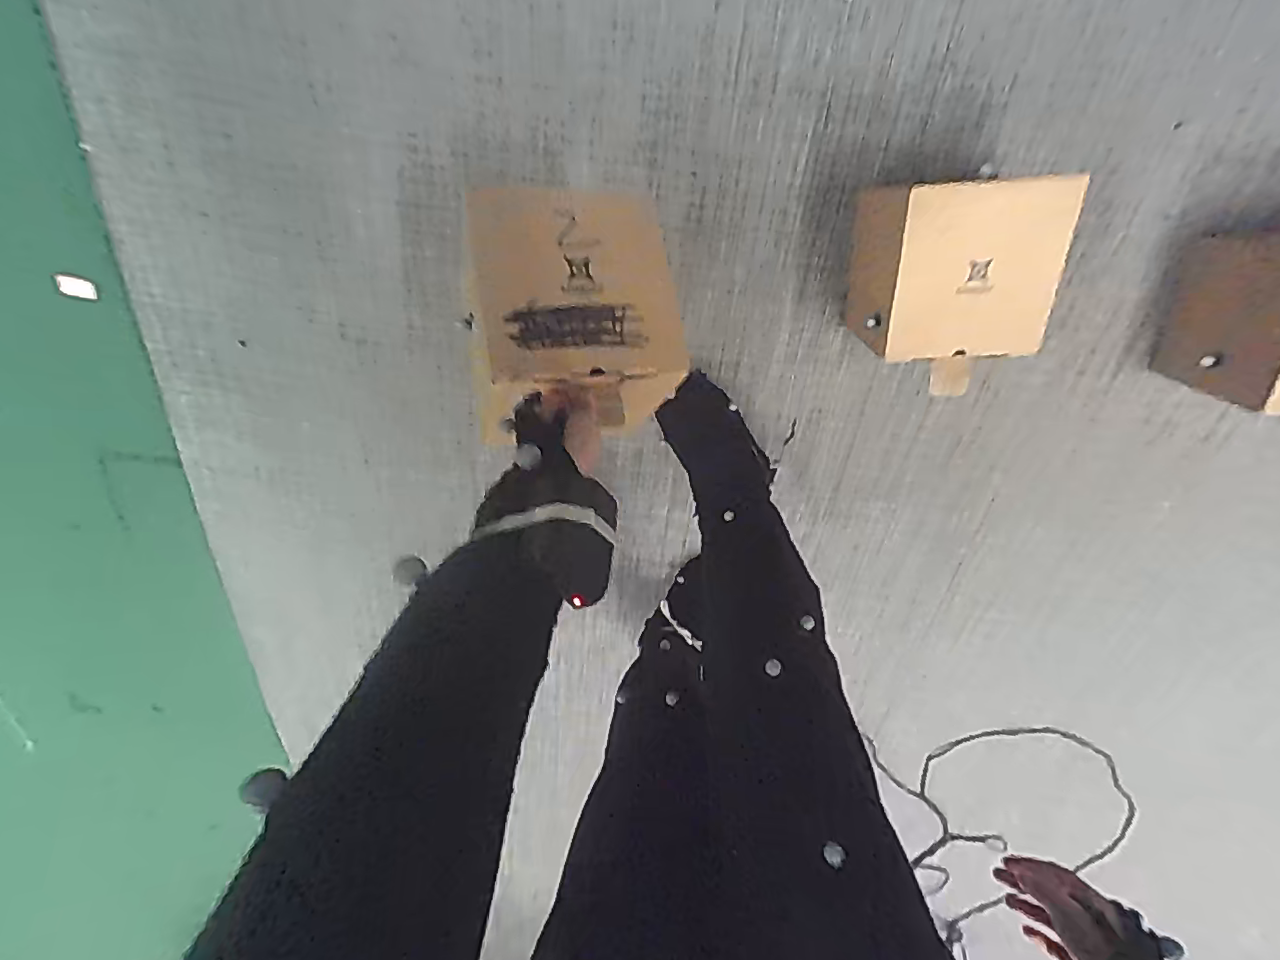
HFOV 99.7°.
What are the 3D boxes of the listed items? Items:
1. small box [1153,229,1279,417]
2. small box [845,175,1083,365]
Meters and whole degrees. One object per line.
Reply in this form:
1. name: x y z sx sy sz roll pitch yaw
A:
1. small box: 0.765 -0.191 0.630 0.168 0.176 0.179 -6 117 5
2. small box: 0.348 -0.245 0.626 0.168 0.176 0.179 -2 119 5
